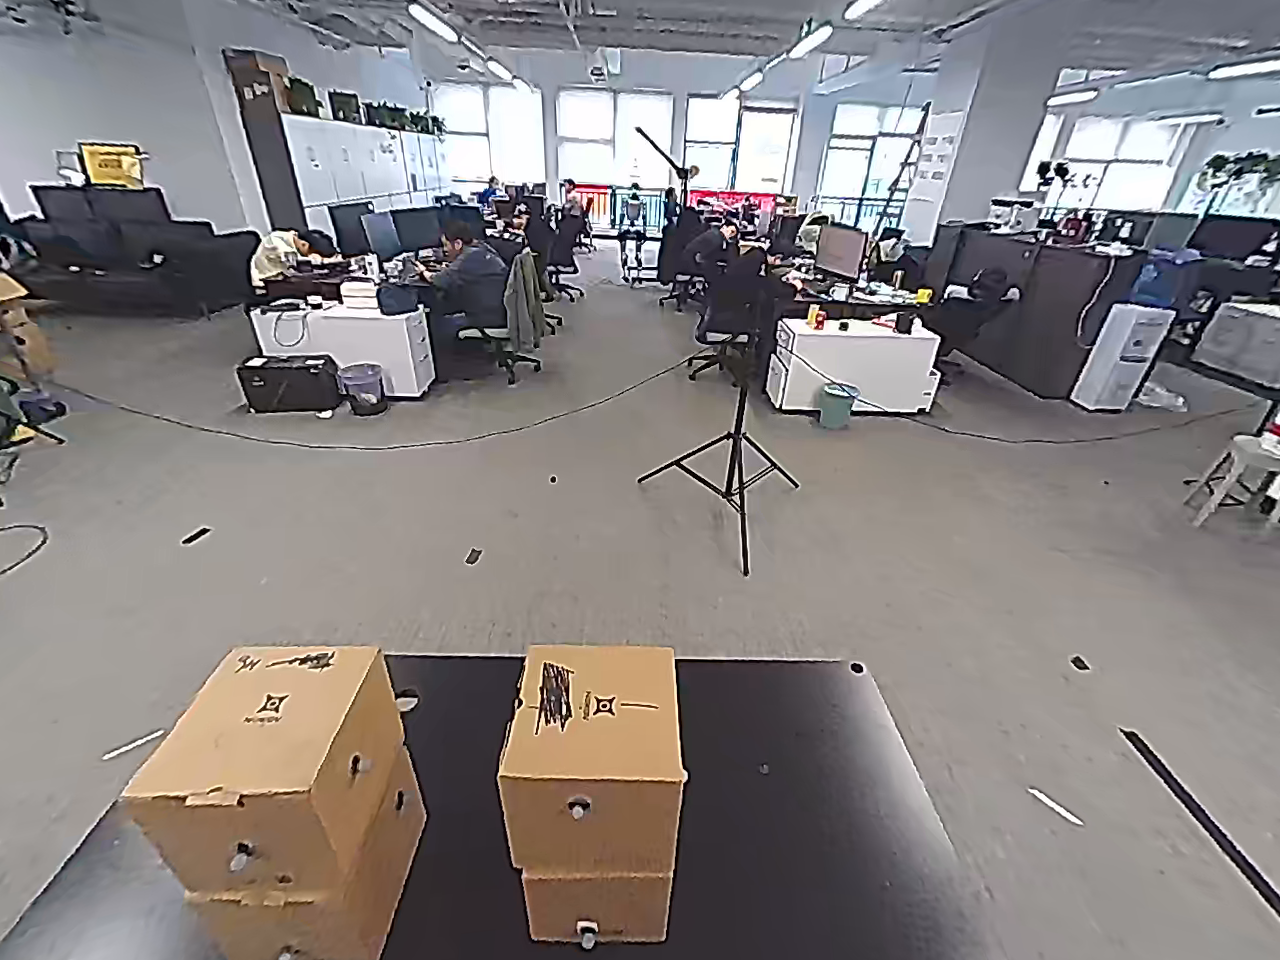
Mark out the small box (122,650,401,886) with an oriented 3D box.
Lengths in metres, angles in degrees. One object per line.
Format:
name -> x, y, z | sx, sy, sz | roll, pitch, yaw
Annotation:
small box -> -0.379, 0.311, 0.588 | 0.168, 0.176, 0.179 | 1, 31, -3

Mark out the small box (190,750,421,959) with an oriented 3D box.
small box -> -0.383, 0.457, 0.662 | 0.168, 0.176, 0.179 | 2, 30, -1

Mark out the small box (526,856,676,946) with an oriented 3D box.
small box -> -0.047, 0.456, 0.695 | 0.168, 0.176, 0.179 | 0, 31, -2

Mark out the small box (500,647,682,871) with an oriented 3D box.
small box -> -0.046, 0.312, 0.614 | 0.179, 0.176, 0.168 | 2, 30, -1
